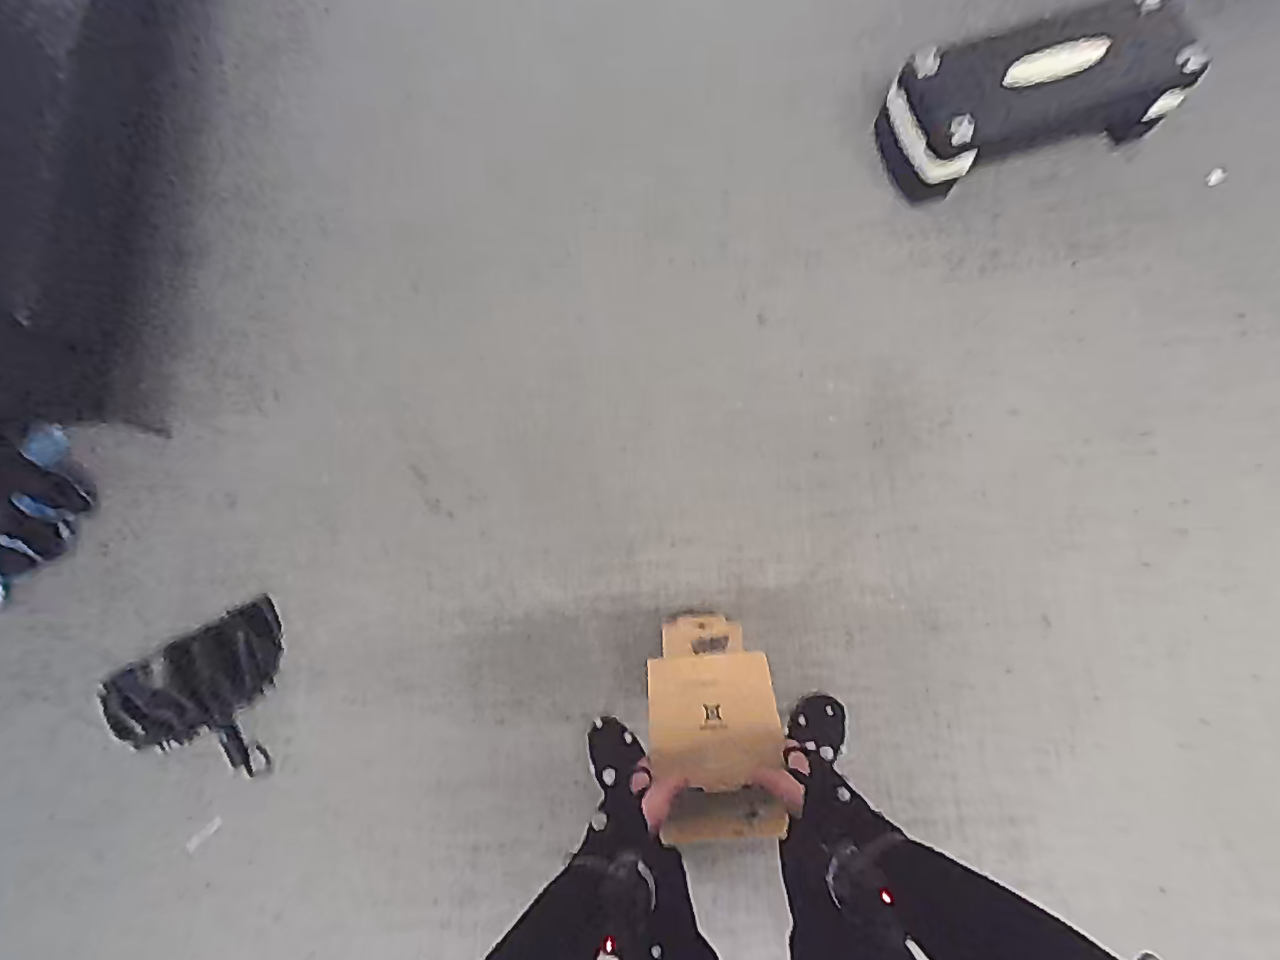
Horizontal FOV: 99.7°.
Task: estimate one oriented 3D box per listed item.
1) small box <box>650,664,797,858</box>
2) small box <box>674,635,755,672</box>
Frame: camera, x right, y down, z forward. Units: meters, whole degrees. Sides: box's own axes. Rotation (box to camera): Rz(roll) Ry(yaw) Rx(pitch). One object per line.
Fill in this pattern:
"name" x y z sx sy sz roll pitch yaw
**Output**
"small box" 0.105 0.372 0.711 0.168 0.176 0.179 -6 36 4
"small box" 0.158 0.427 1.160 0.168 0.176 0.179 -3 77 5
